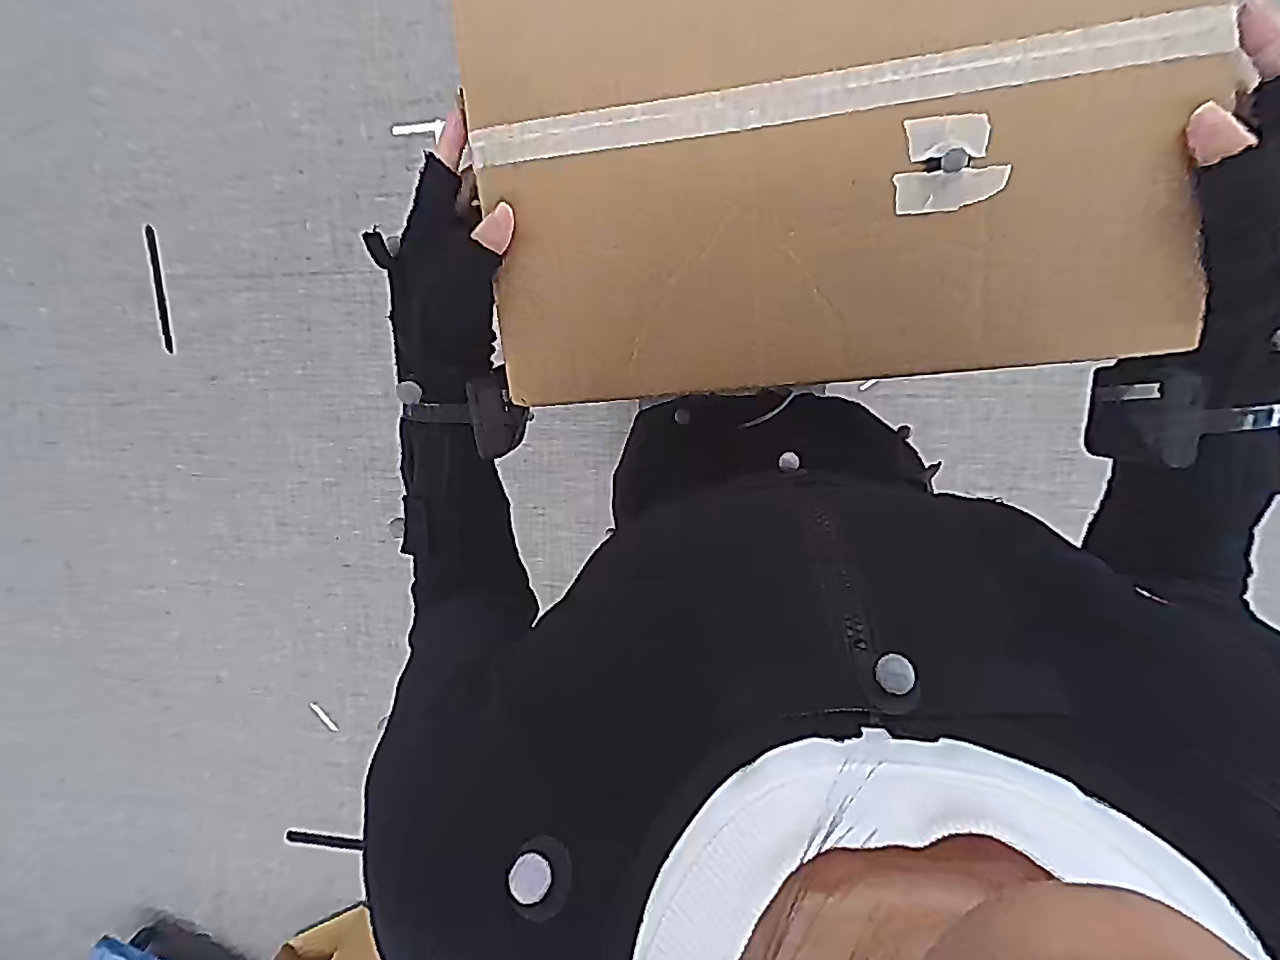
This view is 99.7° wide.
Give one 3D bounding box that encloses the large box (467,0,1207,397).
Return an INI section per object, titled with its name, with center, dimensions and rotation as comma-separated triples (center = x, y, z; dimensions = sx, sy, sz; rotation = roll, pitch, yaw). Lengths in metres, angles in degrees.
[large box]
center = 0.116, -0.254, 0.457
dimensions = 0.408, 0.320, 0.320
rotation = -4, 103, 7
